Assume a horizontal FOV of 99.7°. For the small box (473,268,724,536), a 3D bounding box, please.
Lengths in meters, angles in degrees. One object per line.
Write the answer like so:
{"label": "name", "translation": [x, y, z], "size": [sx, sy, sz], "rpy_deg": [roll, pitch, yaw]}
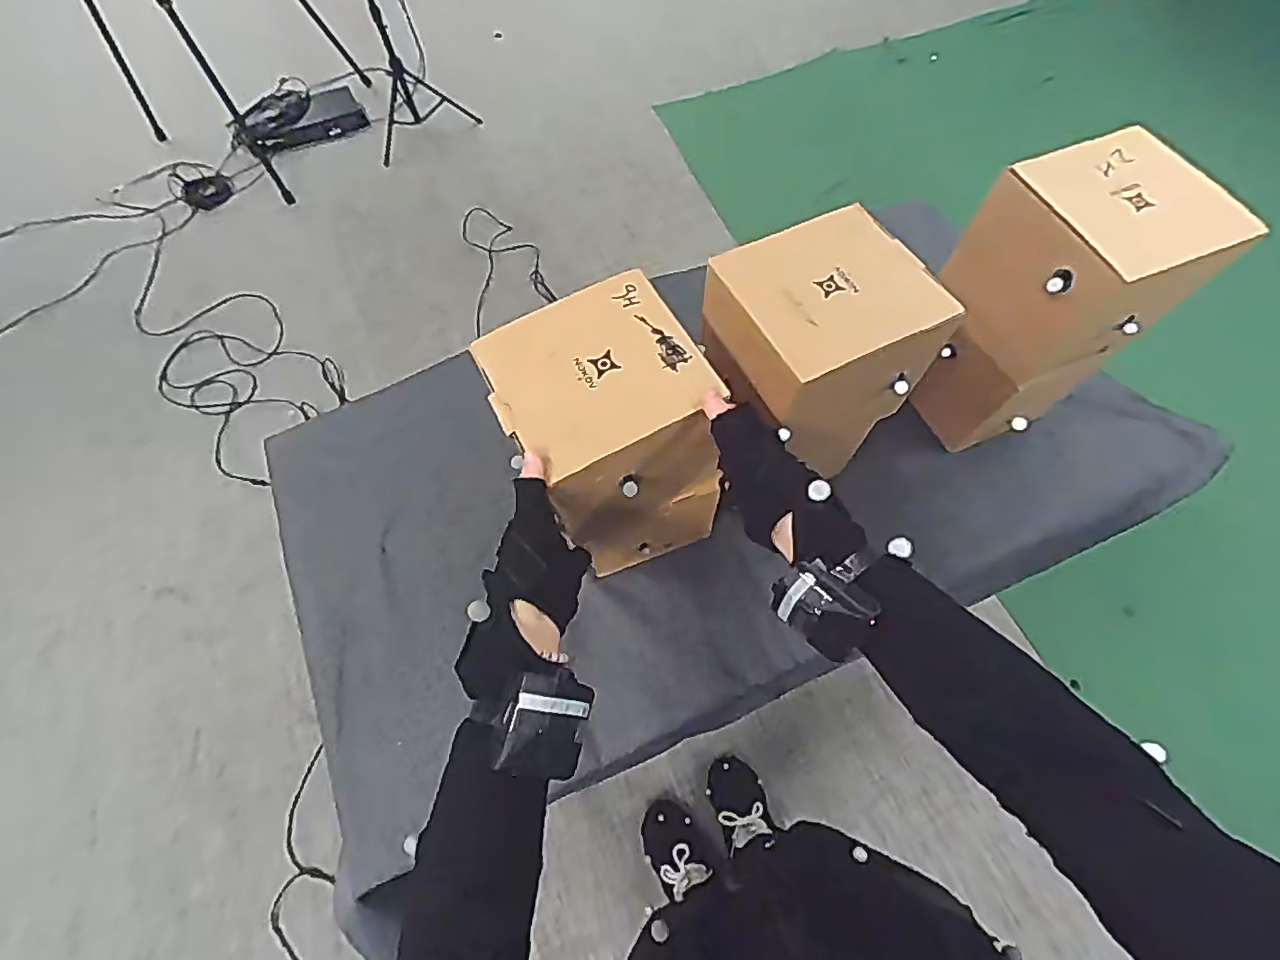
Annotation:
{"label": "small box", "translation": [-0.034, -0.066, 0.541], "size": [0.179, 0.176, 0.168], "rpy_deg": [-28, 68, -7]}

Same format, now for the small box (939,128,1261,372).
{"label": "small box", "translation": [0.486, -0.244, 0.608], "size": [0.168, 0.176, 0.179], "rpy_deg": [-20, 66, -7]}

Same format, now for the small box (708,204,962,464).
{"label": "small box", "translation": [0.182, -0.146, 0.575], "size": [0.179, 0.176, 0.168], "rpy_deg": [-24, 65, -8]}
